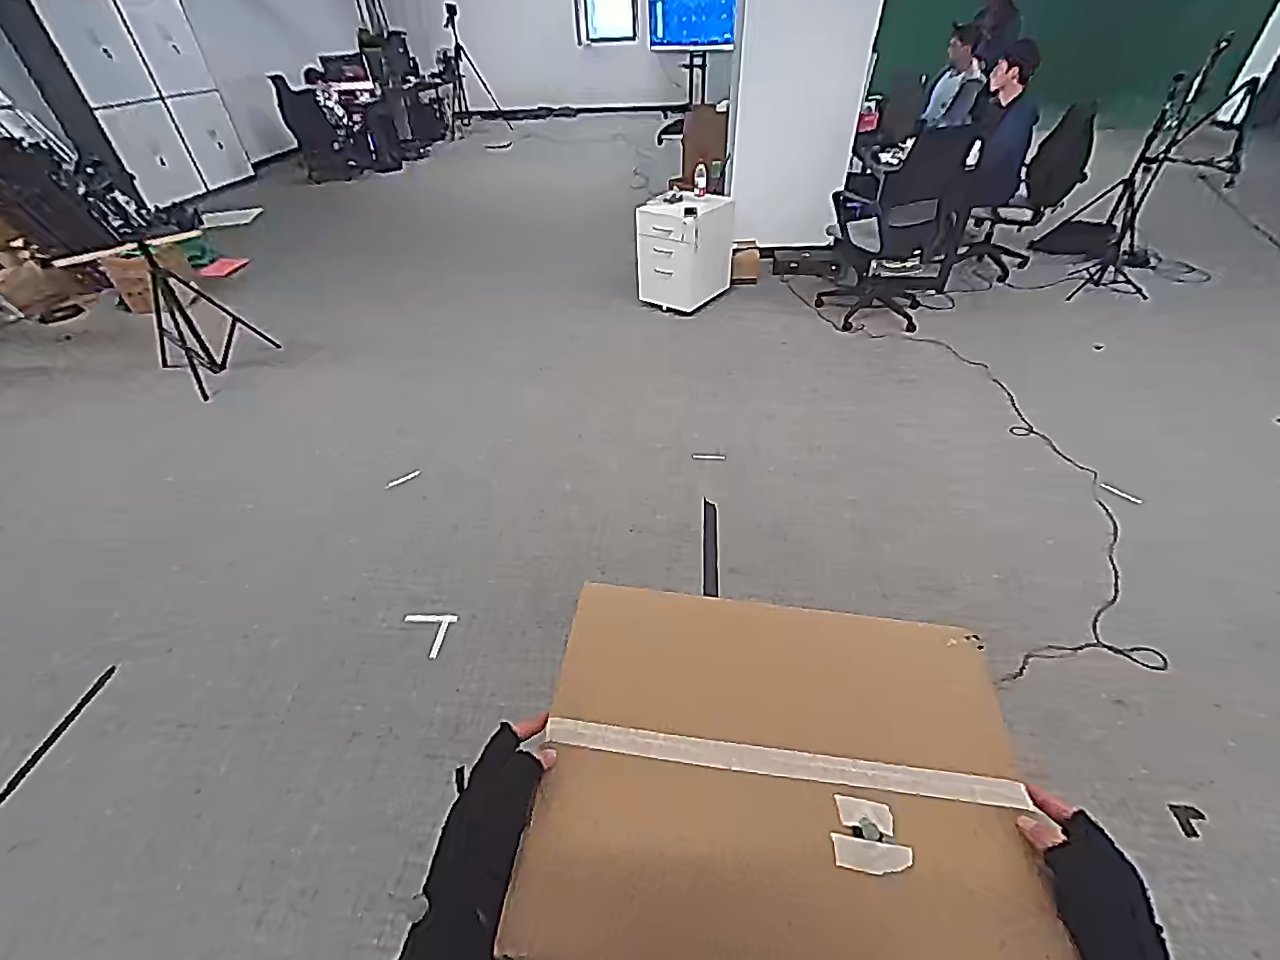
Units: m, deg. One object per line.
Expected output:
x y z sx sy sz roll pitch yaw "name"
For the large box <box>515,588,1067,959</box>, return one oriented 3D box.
0.120 0.348 0.582 0.408 0.320 0.320 6 47 5 "large box"
